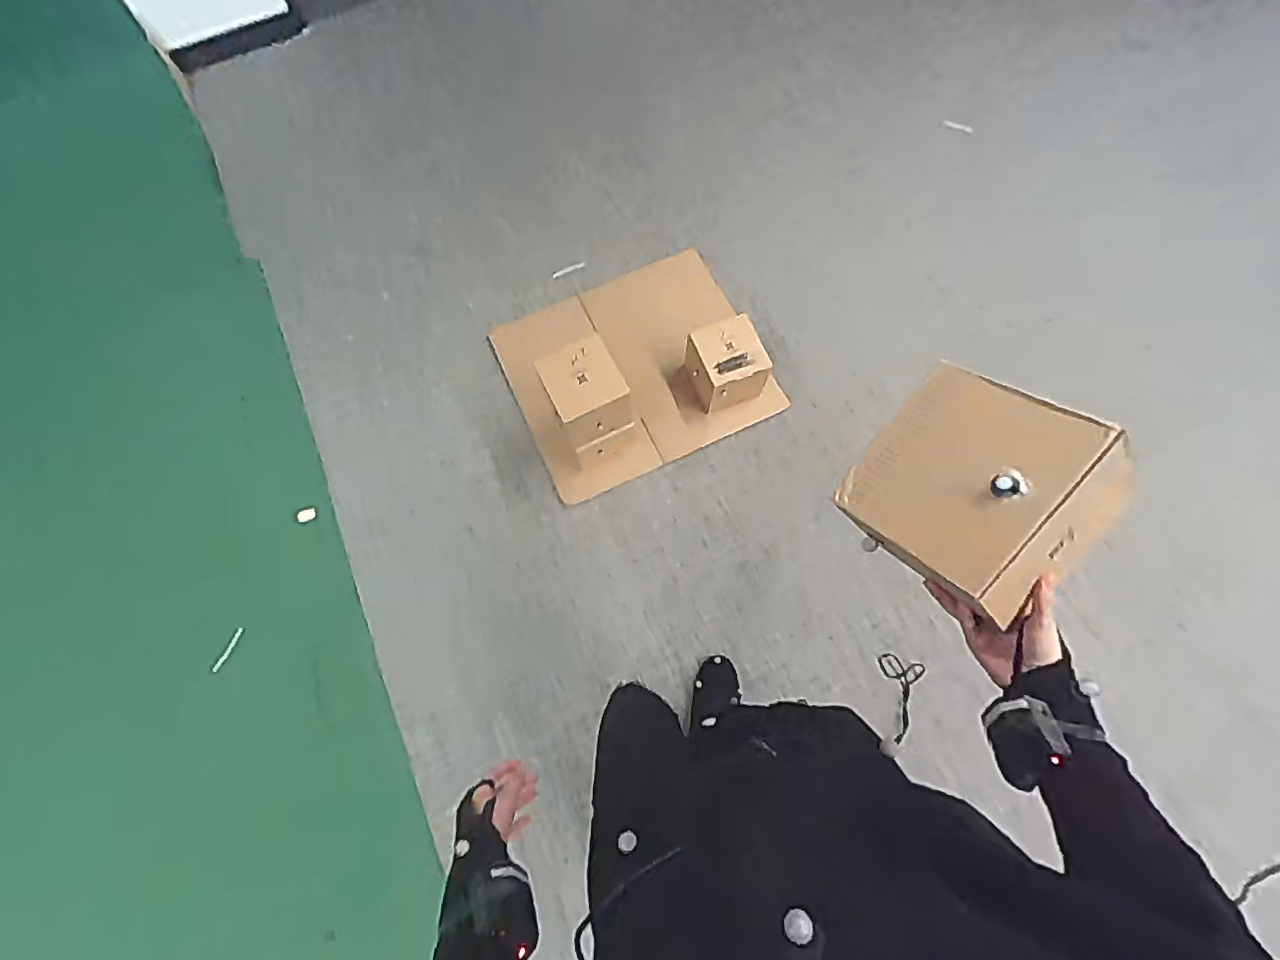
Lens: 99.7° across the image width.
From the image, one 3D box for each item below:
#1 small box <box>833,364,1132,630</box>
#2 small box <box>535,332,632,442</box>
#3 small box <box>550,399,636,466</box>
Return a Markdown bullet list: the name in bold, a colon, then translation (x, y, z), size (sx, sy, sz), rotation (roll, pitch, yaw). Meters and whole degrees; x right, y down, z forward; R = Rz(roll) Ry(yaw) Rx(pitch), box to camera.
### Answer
- **small box**: translation (0.328, 0.014, 0.532), size (0.179, 0.168, 0.176), rotation (-53, 44, 6)
- **small box**: translation (-0.125, -0.207, 1.271), size (0.168, 0.176, 0.179), rotation (-25, 73, -7)
- **small box**: translation (-0.118, -0.153, 1.427), size (0.168, 0.176, 0.179), rotation (-26, 73, -7)
